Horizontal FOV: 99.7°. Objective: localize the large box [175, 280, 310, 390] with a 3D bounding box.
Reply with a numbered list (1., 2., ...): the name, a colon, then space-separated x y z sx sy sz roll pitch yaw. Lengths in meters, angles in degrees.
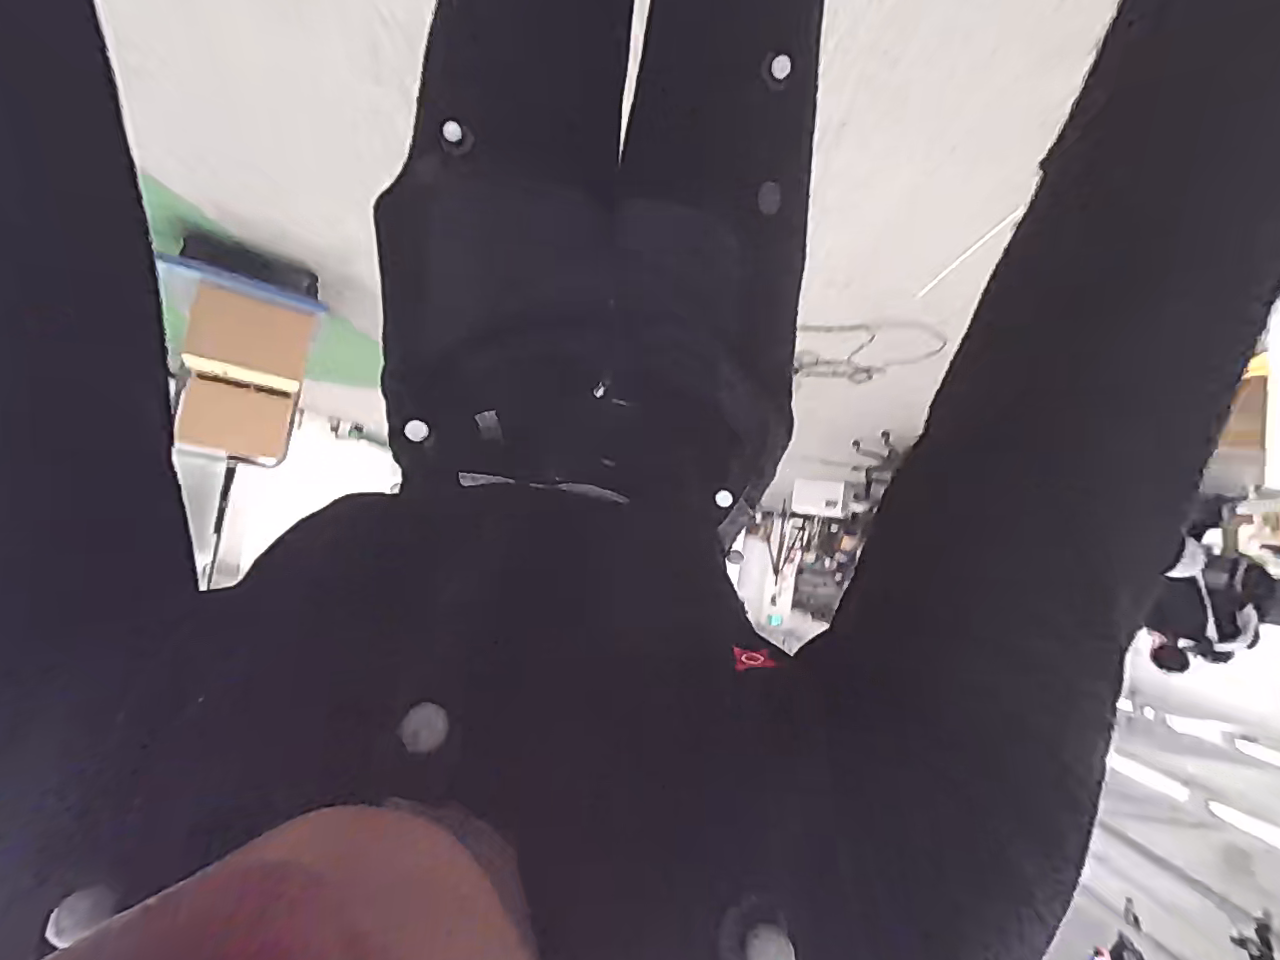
1. large box: -1.676 -0.598 2.305 0.408 0.320 0.320 14 174 -37
